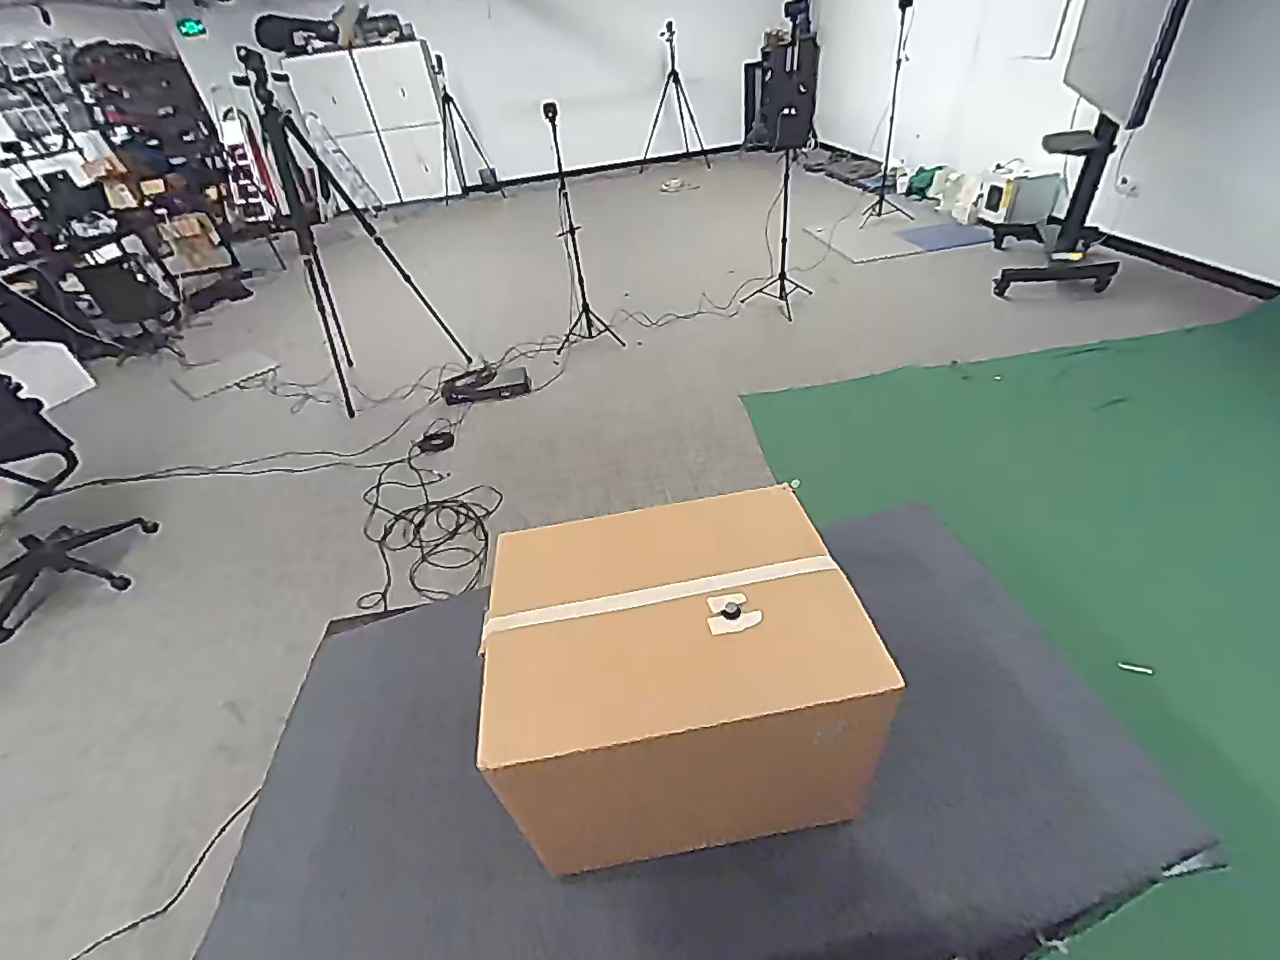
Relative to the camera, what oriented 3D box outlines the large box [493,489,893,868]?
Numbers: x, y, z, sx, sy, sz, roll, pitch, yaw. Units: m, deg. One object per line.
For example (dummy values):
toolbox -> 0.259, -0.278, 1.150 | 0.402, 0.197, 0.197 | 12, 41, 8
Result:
large box -> 0.047, 0.254, 0.722 | 0.408, 0.320, 0.320 | -10, 39, -3
